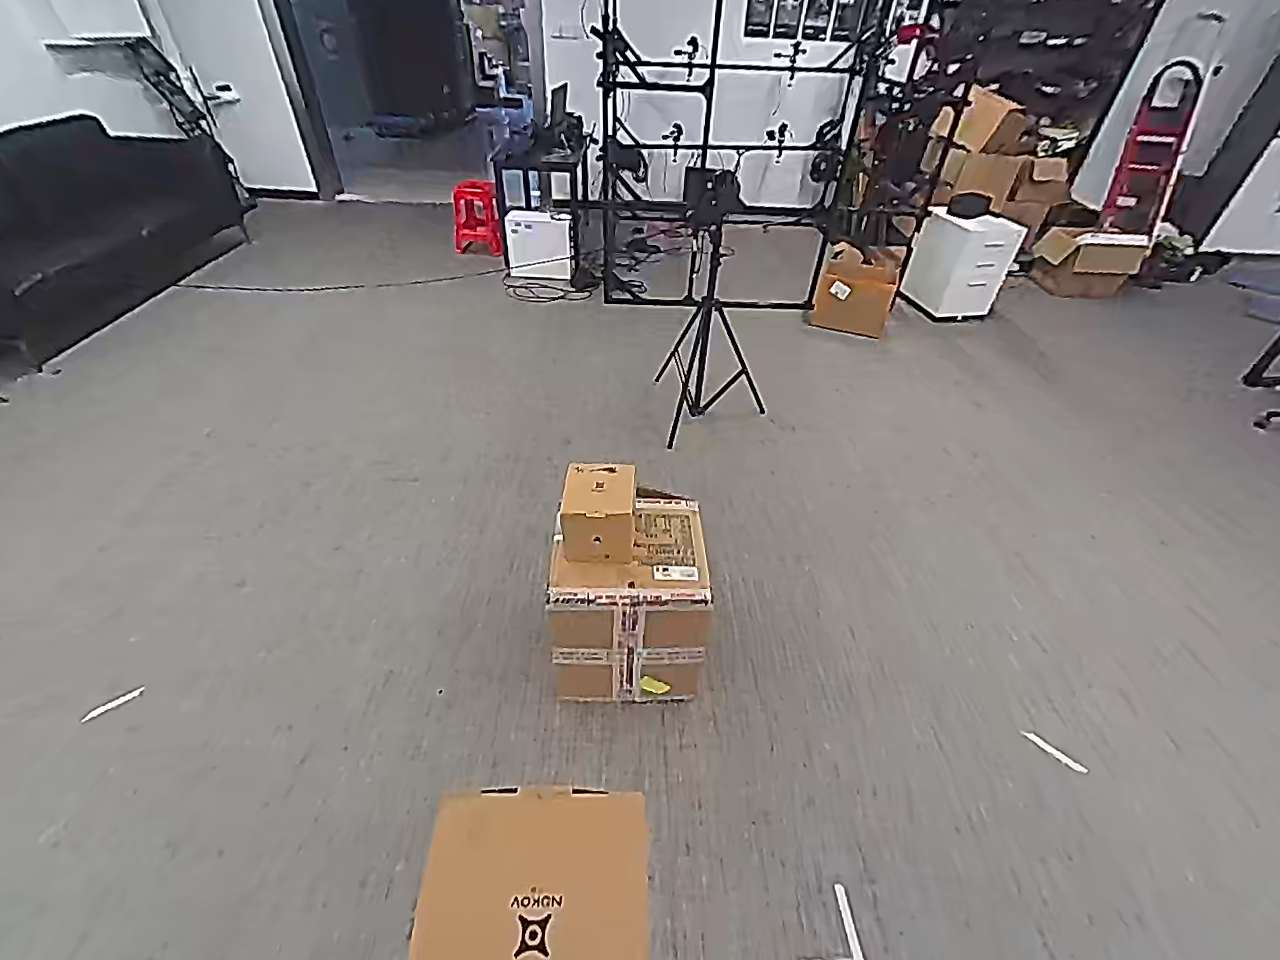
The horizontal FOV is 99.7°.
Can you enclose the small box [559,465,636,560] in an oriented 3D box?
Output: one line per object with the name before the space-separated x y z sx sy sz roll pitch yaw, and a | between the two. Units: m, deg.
small box | -0.097 0.082 1.325 0.168 0.176 0.179 1 43 1
